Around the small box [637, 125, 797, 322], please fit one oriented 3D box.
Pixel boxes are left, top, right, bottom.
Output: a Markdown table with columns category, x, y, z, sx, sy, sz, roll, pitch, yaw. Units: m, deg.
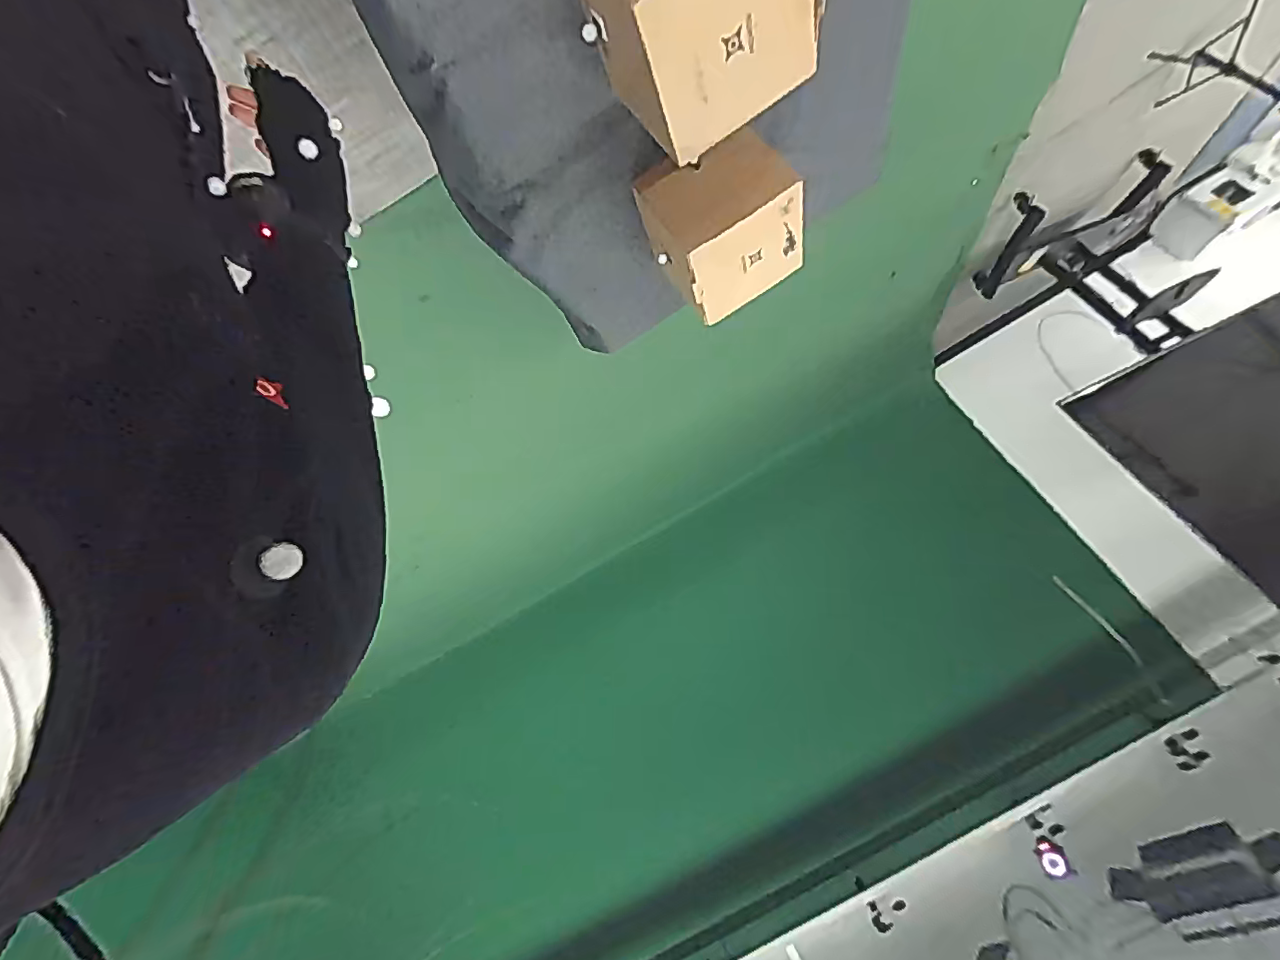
| category | x | y | z | sx | sy | sz | roll | pitch | yaw |
| --- | --- | --- | --- | --- | --- | --- | --- | --- | --- |
| small box | 0.112 | -0.380 | 0.804 | 0.179 | 0.176 | 0.168 | -32 | 157 | 4 |

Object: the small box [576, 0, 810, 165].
| category | x | y | z | sx | sy | sz | roll | pitch | yaw |
| --- | --- | --- | --- | --- | --- | --- | --- | --- | --- |
| small box | 0.049 | -0.478 | 0.545 | 0.179 | 0.176 | 0.168 | -32 | 155 | 7 |
